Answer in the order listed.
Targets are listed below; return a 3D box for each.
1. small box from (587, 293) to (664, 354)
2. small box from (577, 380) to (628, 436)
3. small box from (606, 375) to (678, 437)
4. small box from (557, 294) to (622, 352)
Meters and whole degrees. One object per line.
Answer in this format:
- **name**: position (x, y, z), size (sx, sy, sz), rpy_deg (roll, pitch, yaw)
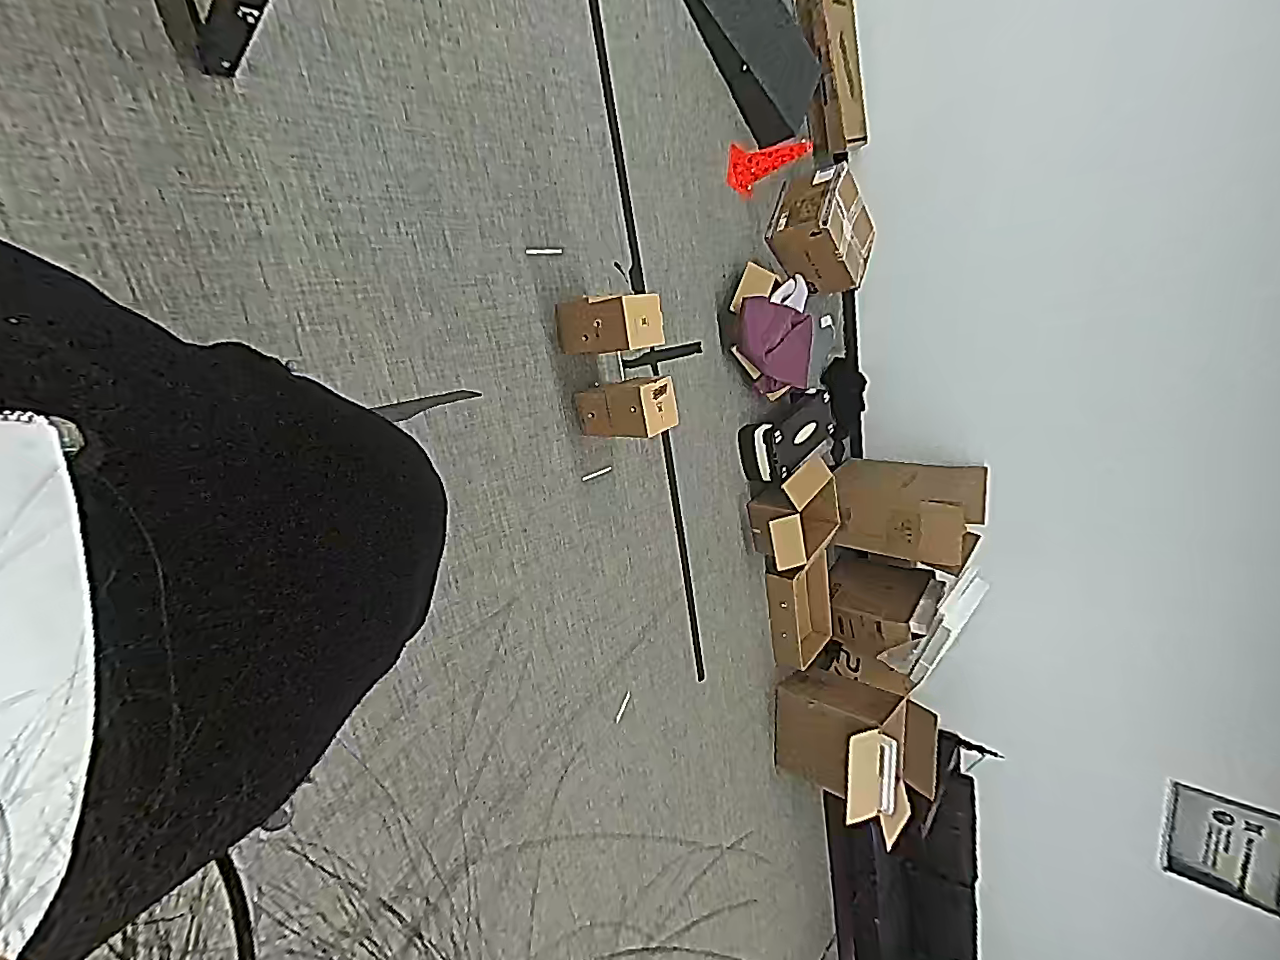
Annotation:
- **small box**: position (-0.047, -0.512, 1.769), size (0.179, 0.176, 0.168), rpy_deg (-23, 110, -42)
- **small box**: position (-0.113, -0.264, 1.972), size (0.179, 0.176, 0.168), rpy_deg (-28, 115, -41)
- **small box**: position (0.004, -0.255, 1.854), size (0.168, 0.176, 0.179), rpy_deg (-28, 116, -41)
- **small box**: position (-0.165, -0.542, 1.877), size (0.168, 0.176, 0.179), rpy_deg (-24, 112, -43)
